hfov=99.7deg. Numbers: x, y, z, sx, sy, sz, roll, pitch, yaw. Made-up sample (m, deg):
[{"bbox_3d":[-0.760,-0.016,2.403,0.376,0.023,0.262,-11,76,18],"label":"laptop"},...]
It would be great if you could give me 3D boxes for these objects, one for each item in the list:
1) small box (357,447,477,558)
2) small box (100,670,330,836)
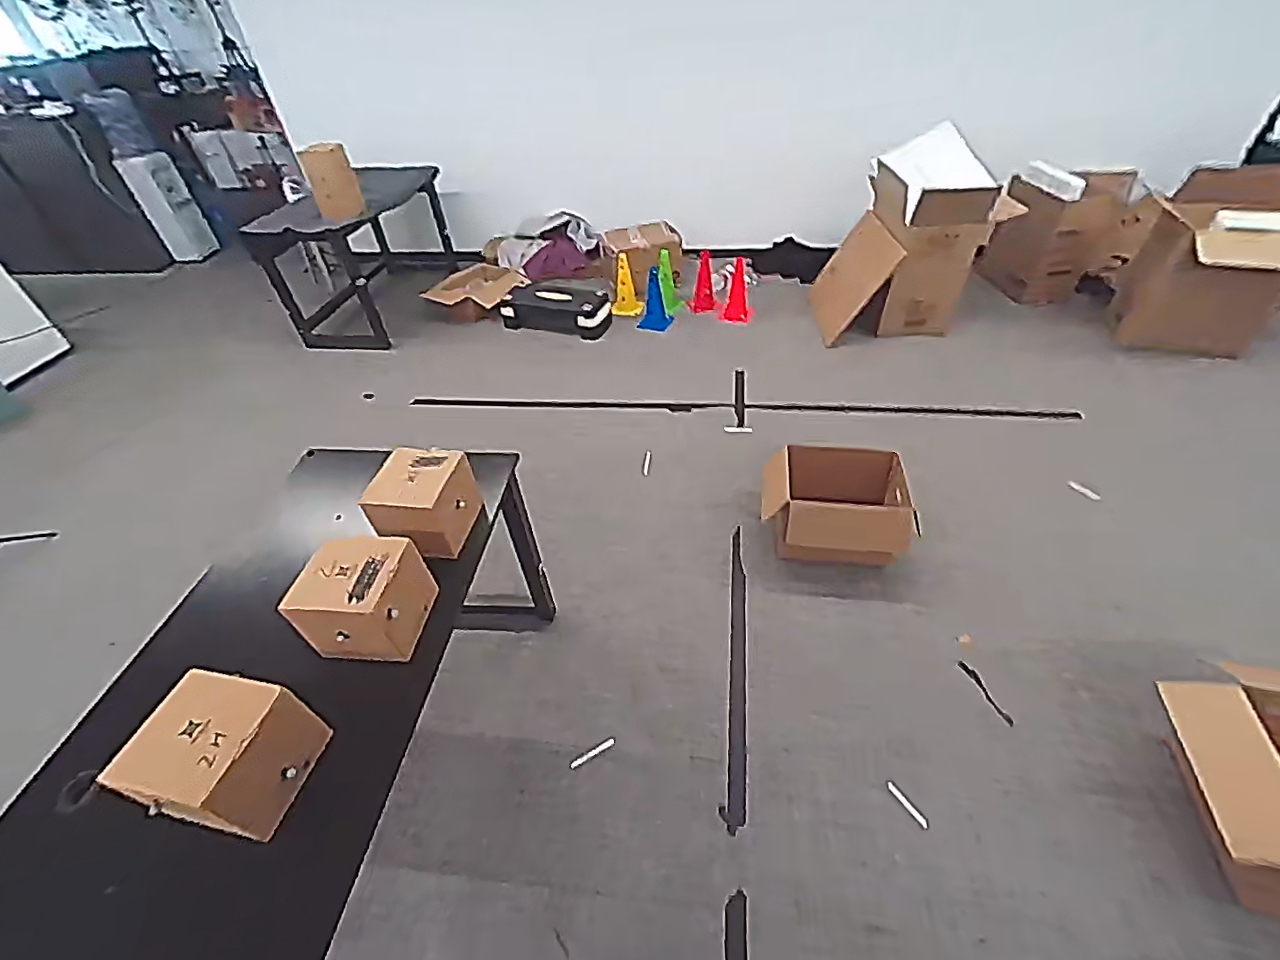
[{"bbox_3d":[-0.477,0.048,1.195,0.168,0.176,0.179,2,45,9],"label":"small box"},{"bbox_3d":[-0.626,0.416,0.823,0.179,0.176,0.168,6,45,11],"label":"small box"}]
